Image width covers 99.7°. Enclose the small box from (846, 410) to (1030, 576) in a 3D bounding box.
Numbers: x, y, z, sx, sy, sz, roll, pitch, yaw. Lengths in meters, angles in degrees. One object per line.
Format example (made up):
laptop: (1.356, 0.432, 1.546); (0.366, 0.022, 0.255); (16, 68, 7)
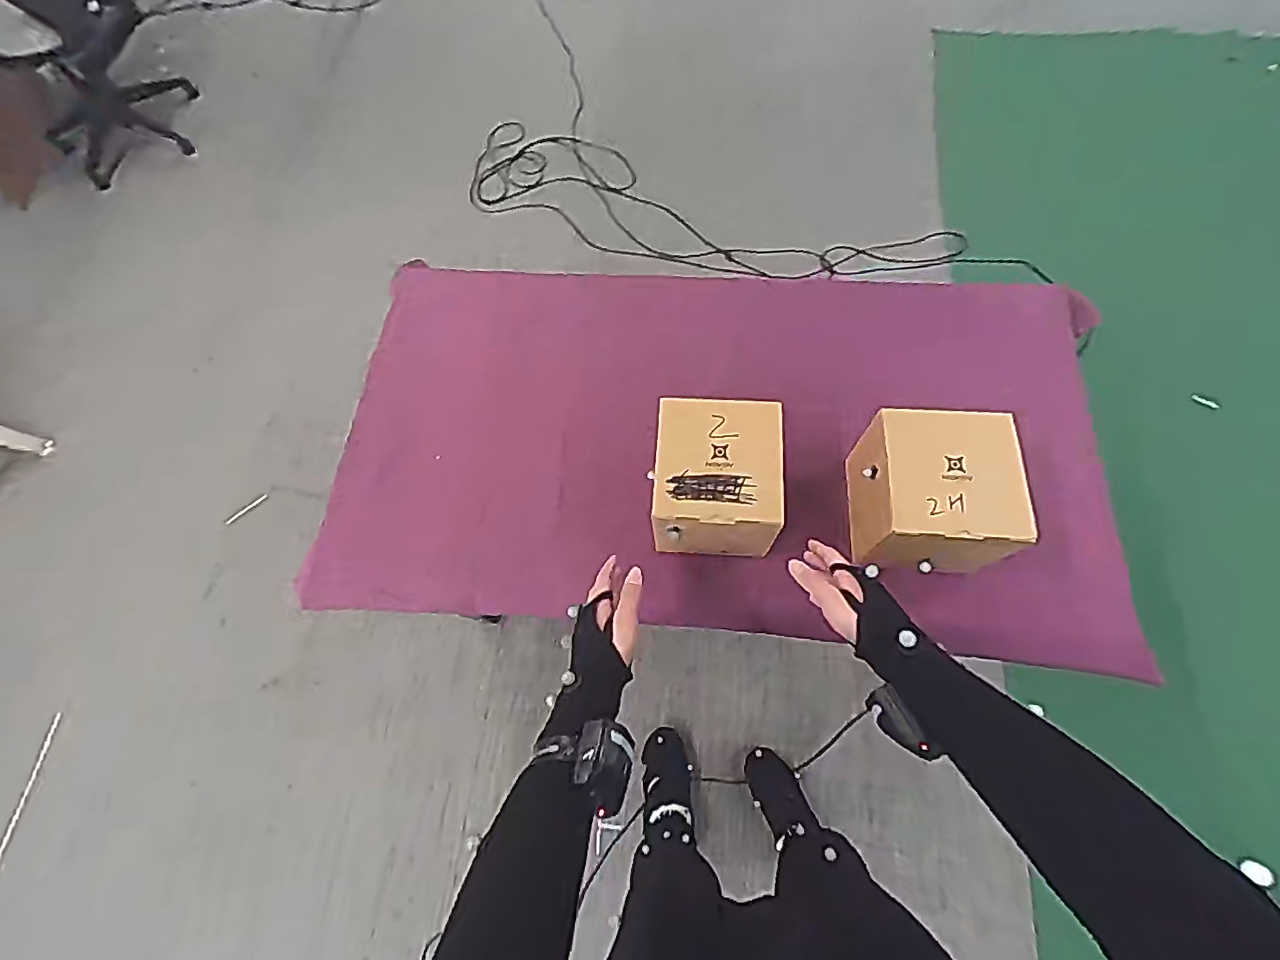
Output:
small box: (0.393, 0.023, 0.750); (0.168, 0.176, 0.179); (4, 68, 6)
